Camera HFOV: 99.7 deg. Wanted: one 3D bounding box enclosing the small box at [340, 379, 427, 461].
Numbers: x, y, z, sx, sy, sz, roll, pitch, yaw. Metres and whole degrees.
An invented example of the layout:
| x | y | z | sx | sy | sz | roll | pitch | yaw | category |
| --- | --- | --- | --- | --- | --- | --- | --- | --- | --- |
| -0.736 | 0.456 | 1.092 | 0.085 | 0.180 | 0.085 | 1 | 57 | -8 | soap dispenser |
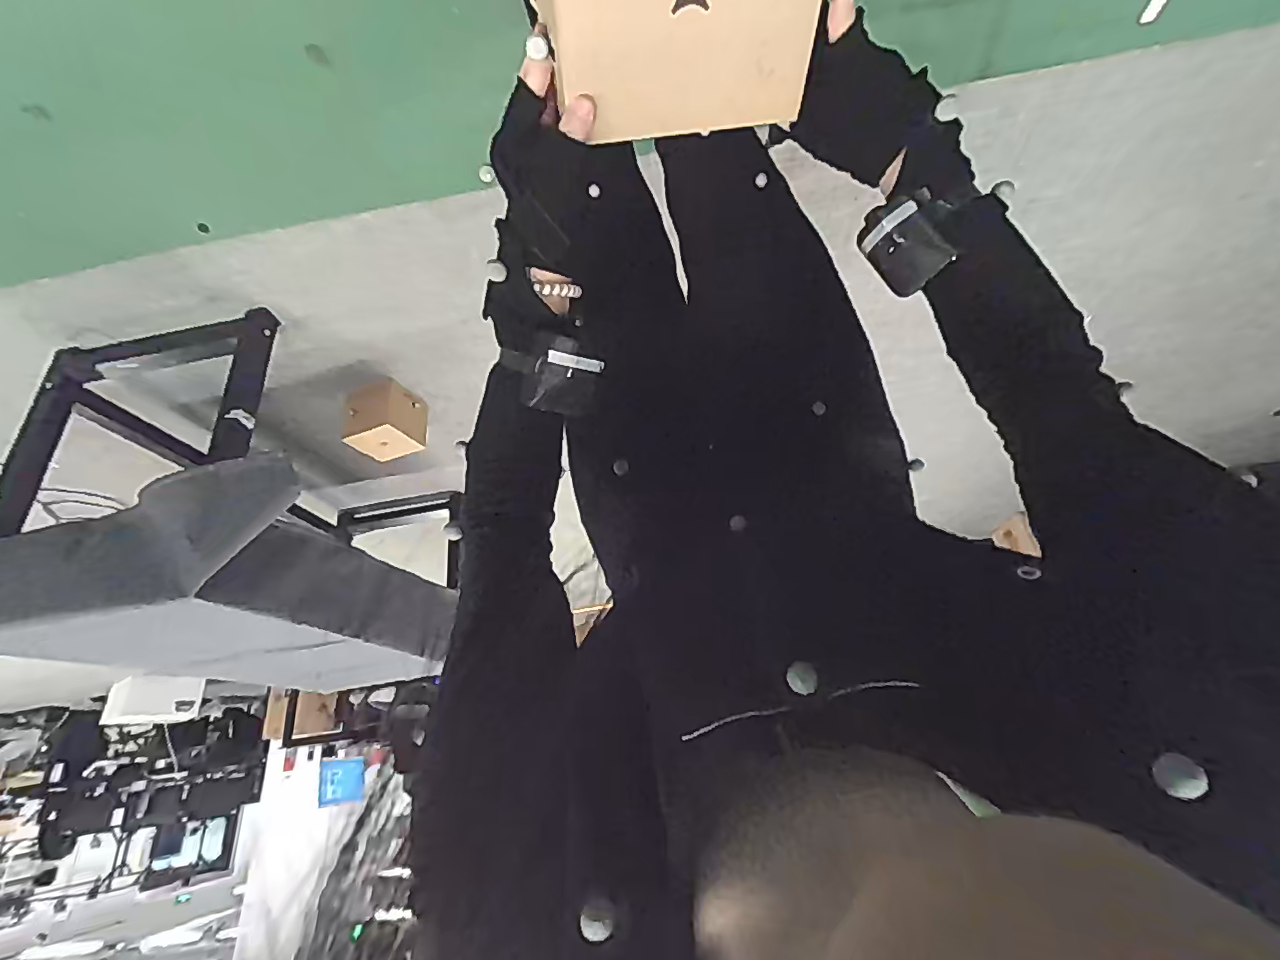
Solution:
| x | y | z | sx | sy | sz | roll | pitch | yaw | category |
| --- | --- | --- | --- | --- | --- | --- | --- | --- | --- |
| -0.781 | -0.183 | 1.665 | 0.179 | 0.176 | 0.168 | -14 | 154 | 15 | small box |
